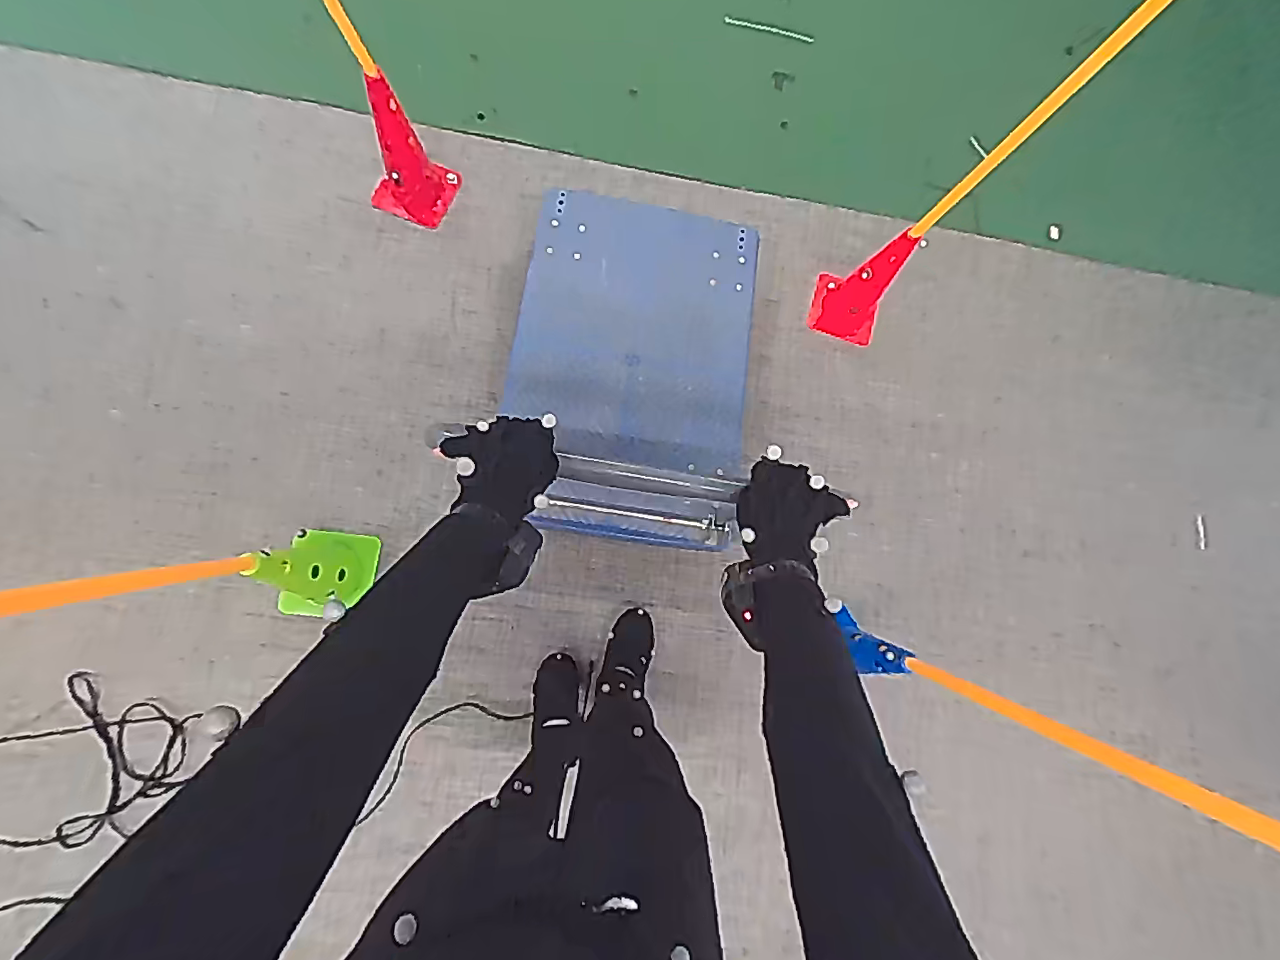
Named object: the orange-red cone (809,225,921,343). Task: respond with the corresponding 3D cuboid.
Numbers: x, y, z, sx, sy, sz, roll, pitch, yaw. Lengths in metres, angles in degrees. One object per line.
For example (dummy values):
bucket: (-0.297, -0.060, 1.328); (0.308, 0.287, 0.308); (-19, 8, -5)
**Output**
orange-red cone: (0.638, -0.556, 1.463); (0.198, 0.360, 0.199); (19, 77, -2)
